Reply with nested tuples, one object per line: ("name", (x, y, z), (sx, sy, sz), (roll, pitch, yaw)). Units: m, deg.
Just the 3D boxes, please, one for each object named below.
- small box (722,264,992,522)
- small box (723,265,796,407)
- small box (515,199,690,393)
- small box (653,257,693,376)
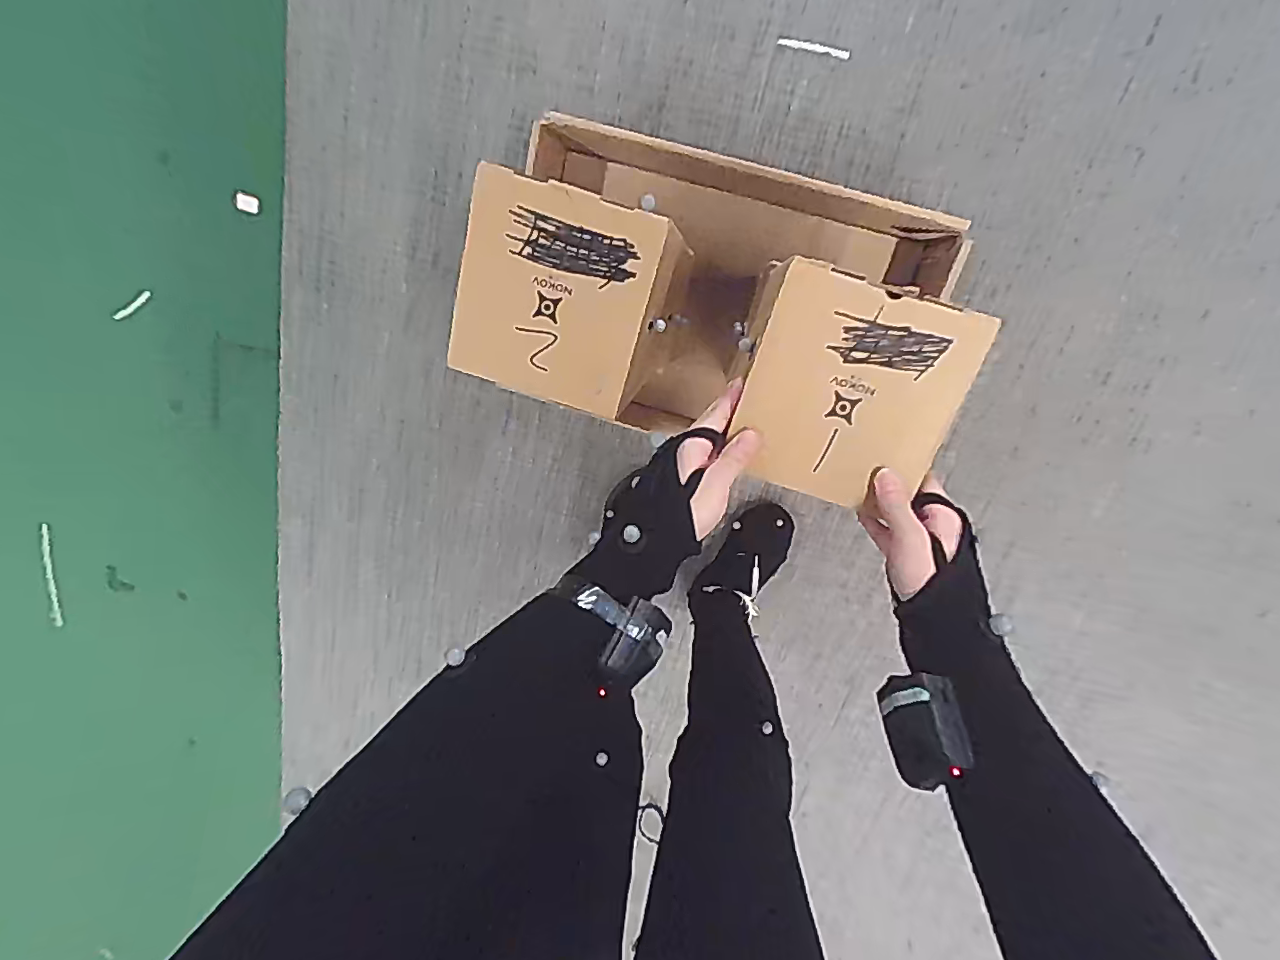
("small box", (0.181, -0.090, 0.522), (0.168, 0.176, 0.179), (19, 109, 1))
("small box", (0.211, -0.159, 0.695), (0.168, 0.176, 0.179), (19, 110, 4))
("small box", (-0.039, -0.233, 0.704), (0.168, 0.176, 0.179), (21, 109, 2))
("small box", (-0.014, -0.282, 0.860), (0.168, 0.176, 0.179), (15, 110, 2))
